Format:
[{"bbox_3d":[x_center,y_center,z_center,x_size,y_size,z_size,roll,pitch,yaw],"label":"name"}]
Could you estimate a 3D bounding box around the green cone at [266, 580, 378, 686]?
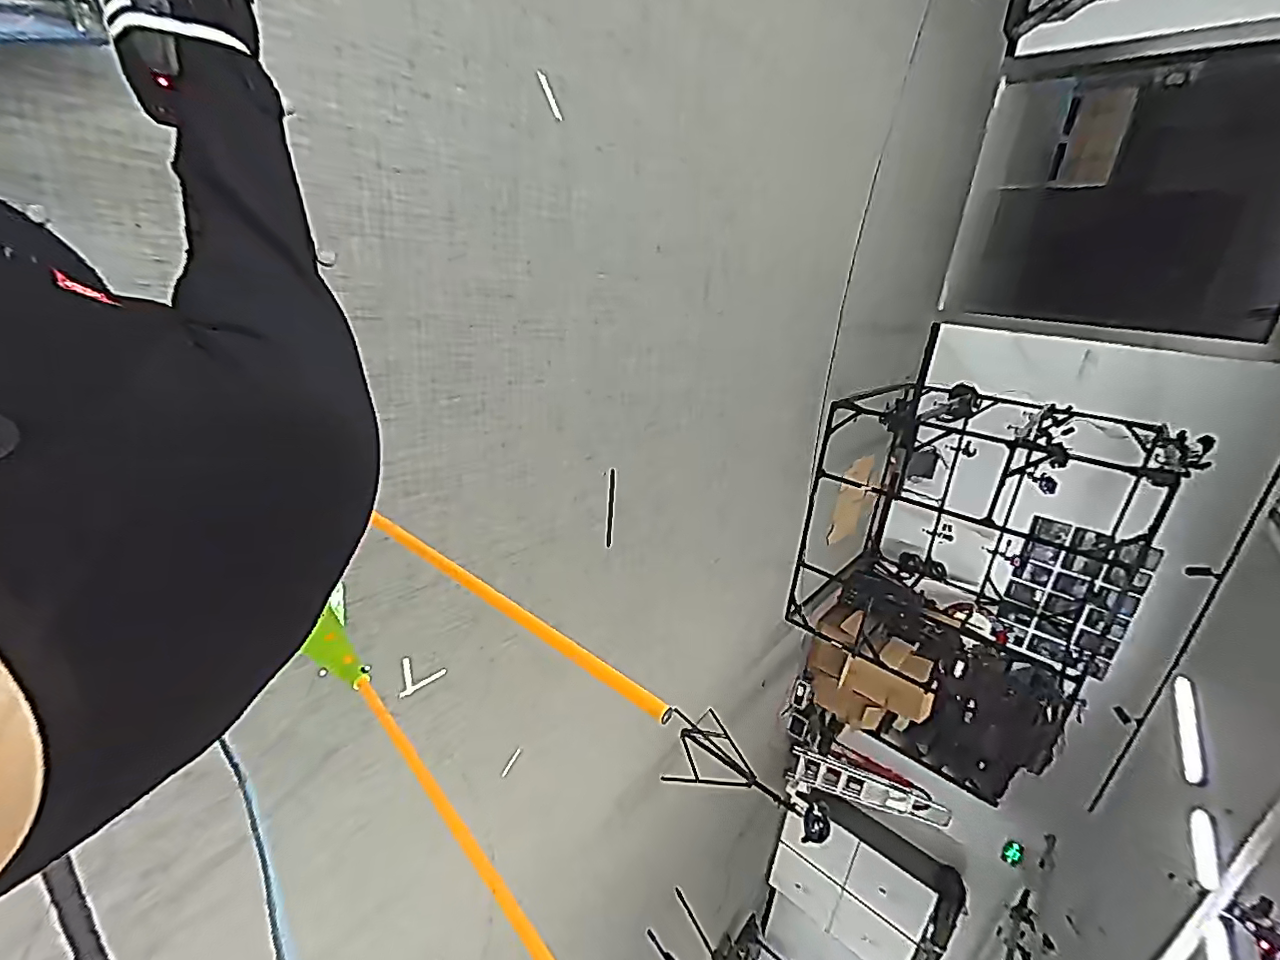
[{"bbox_3d":[-0.808,0.445,1.434,0.202,0.368,0.200,-14,118,-50],"label":"green cone"}]
